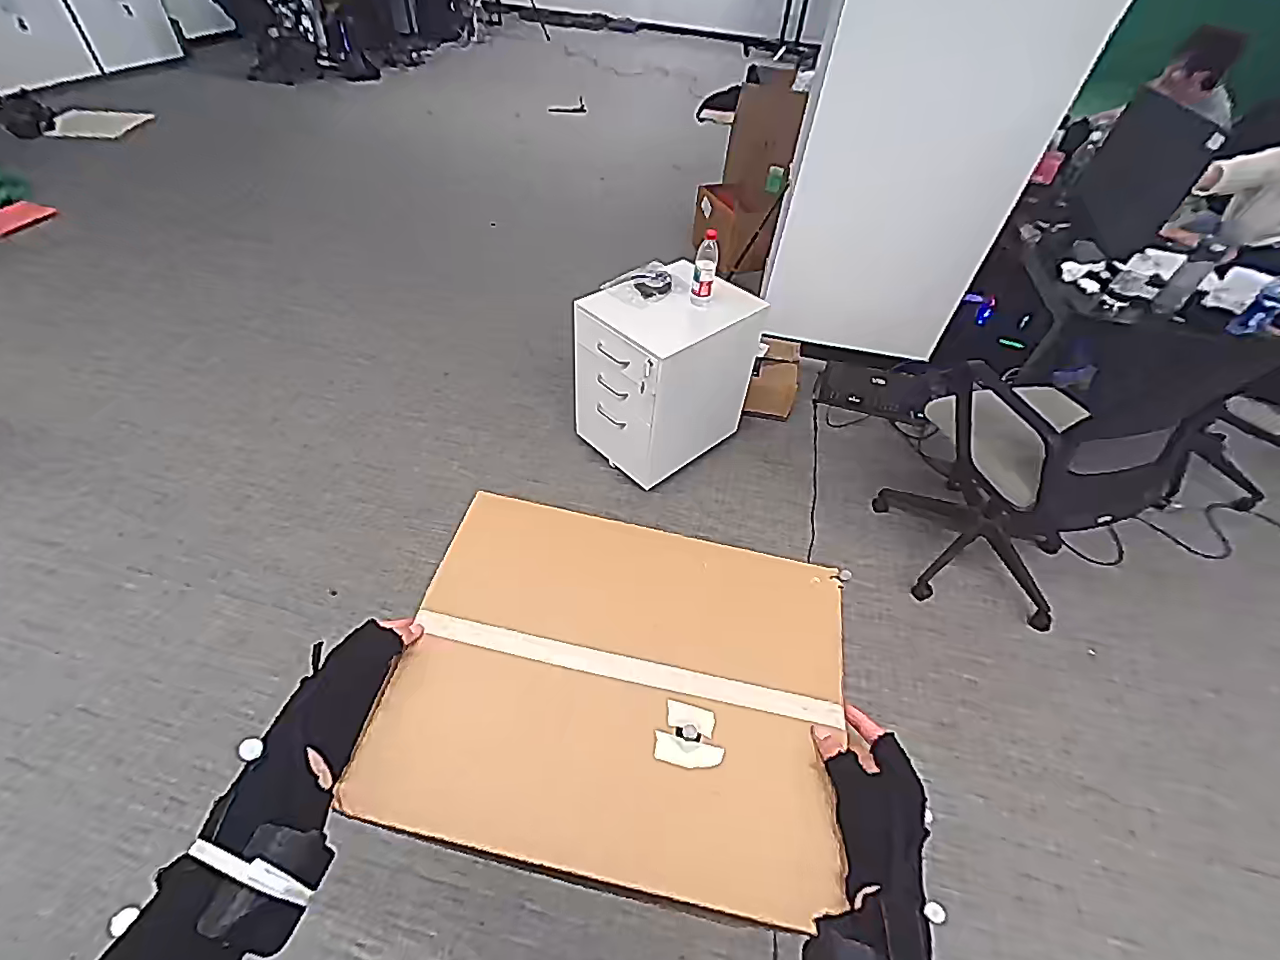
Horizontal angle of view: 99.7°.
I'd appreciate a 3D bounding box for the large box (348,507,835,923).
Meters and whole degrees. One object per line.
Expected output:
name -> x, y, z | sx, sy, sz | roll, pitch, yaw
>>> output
large box -> -0.031, 0.275, 0.632 | 0.408, 0.320, 0.320 | 12, 53, 3
